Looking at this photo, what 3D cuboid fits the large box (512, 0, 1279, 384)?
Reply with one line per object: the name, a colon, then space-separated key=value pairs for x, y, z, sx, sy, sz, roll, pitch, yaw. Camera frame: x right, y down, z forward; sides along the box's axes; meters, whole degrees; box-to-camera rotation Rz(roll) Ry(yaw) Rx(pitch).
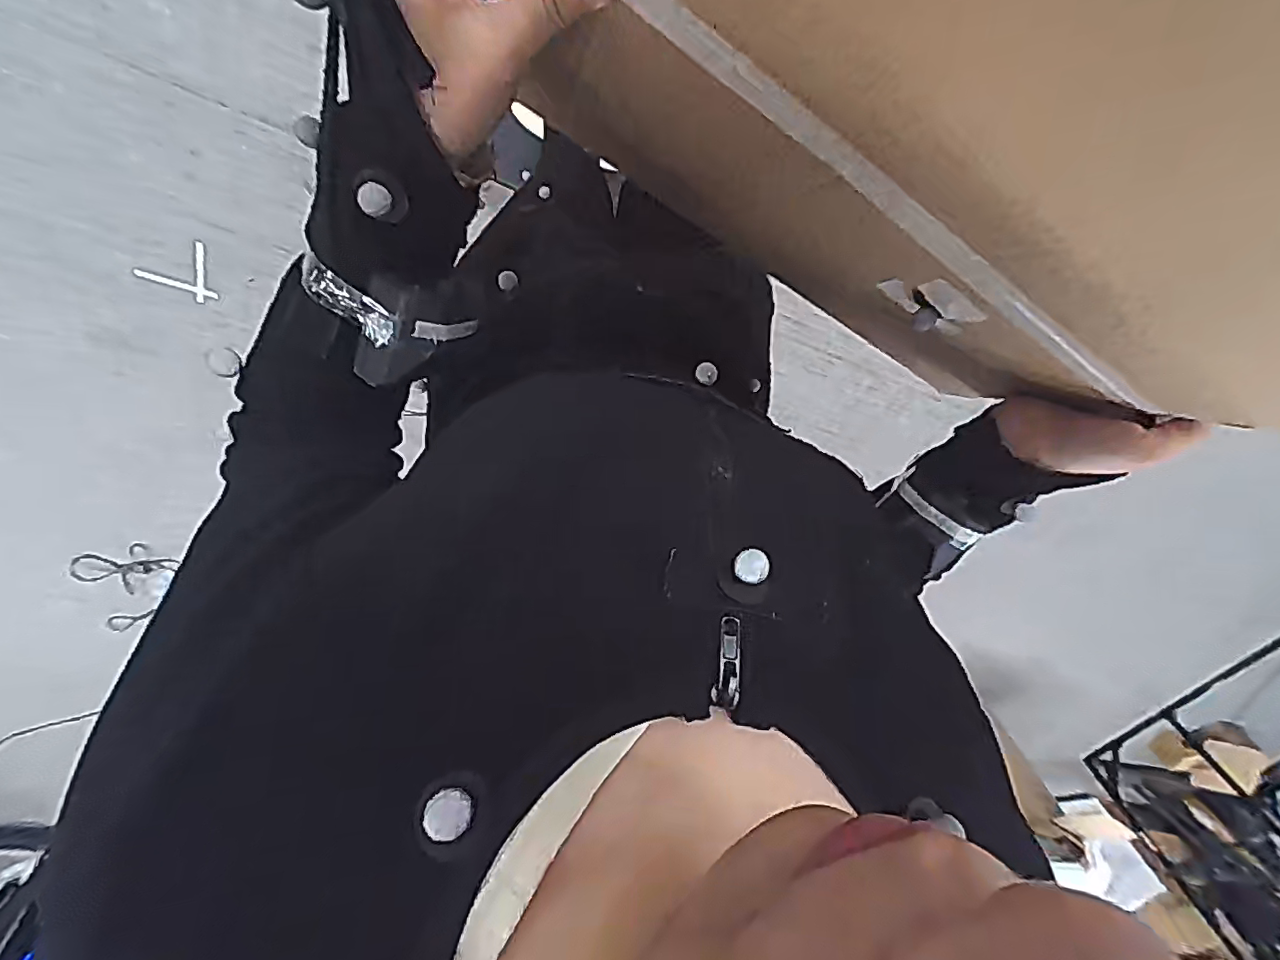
large box: x=0.204 y=-0.264 z=0.195 sx=0.408 sy=0.320 sz=0.320 roll=24 pitch=97 yaw=-20
